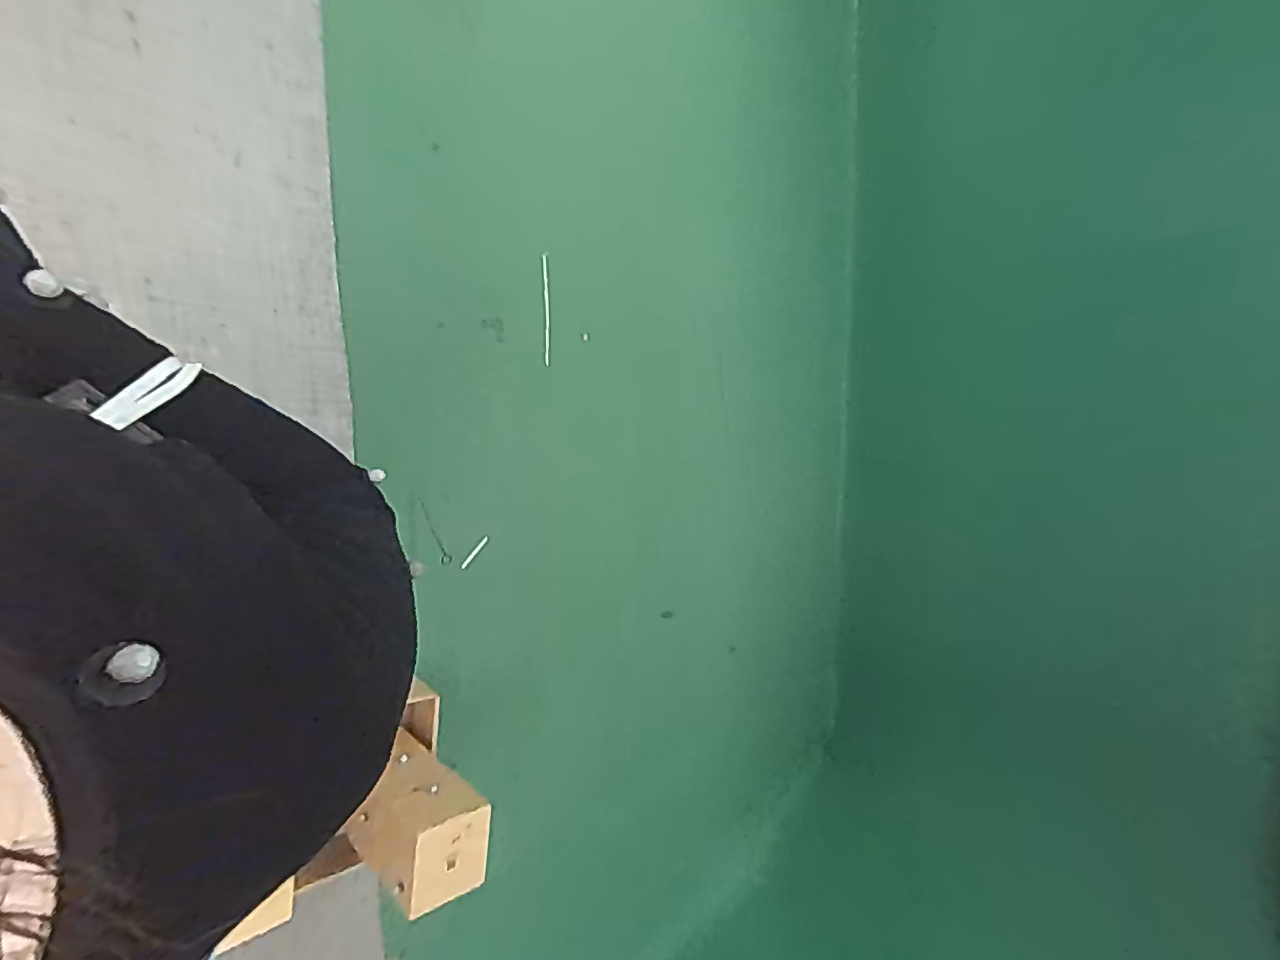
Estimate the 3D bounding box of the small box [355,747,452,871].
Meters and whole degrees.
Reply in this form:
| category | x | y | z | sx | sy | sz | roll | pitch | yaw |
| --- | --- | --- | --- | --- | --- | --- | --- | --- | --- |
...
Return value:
| category | x | y | z | sx | sy | sz | roll | pitch | yaw |
| --- | --- | --- | --- | --- | --- | --- | --- | --- | --- |
| small box | -0.565 | 0.776 | 1.297 | 0.168 | 0.176 | 0.179 | 9 | 86 | -46 |

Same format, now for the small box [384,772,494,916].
| category | x | y | z | sx | sy | sz | roll | pitch | yaw |
| --- | --- | --- | --- | --- | --- | --- | --- | --- | --- |
| small box | -0.444 | 0.783 | 1.185 | 0.168 | 0.176 | 0.179 | 6 | 88 | -46 |
